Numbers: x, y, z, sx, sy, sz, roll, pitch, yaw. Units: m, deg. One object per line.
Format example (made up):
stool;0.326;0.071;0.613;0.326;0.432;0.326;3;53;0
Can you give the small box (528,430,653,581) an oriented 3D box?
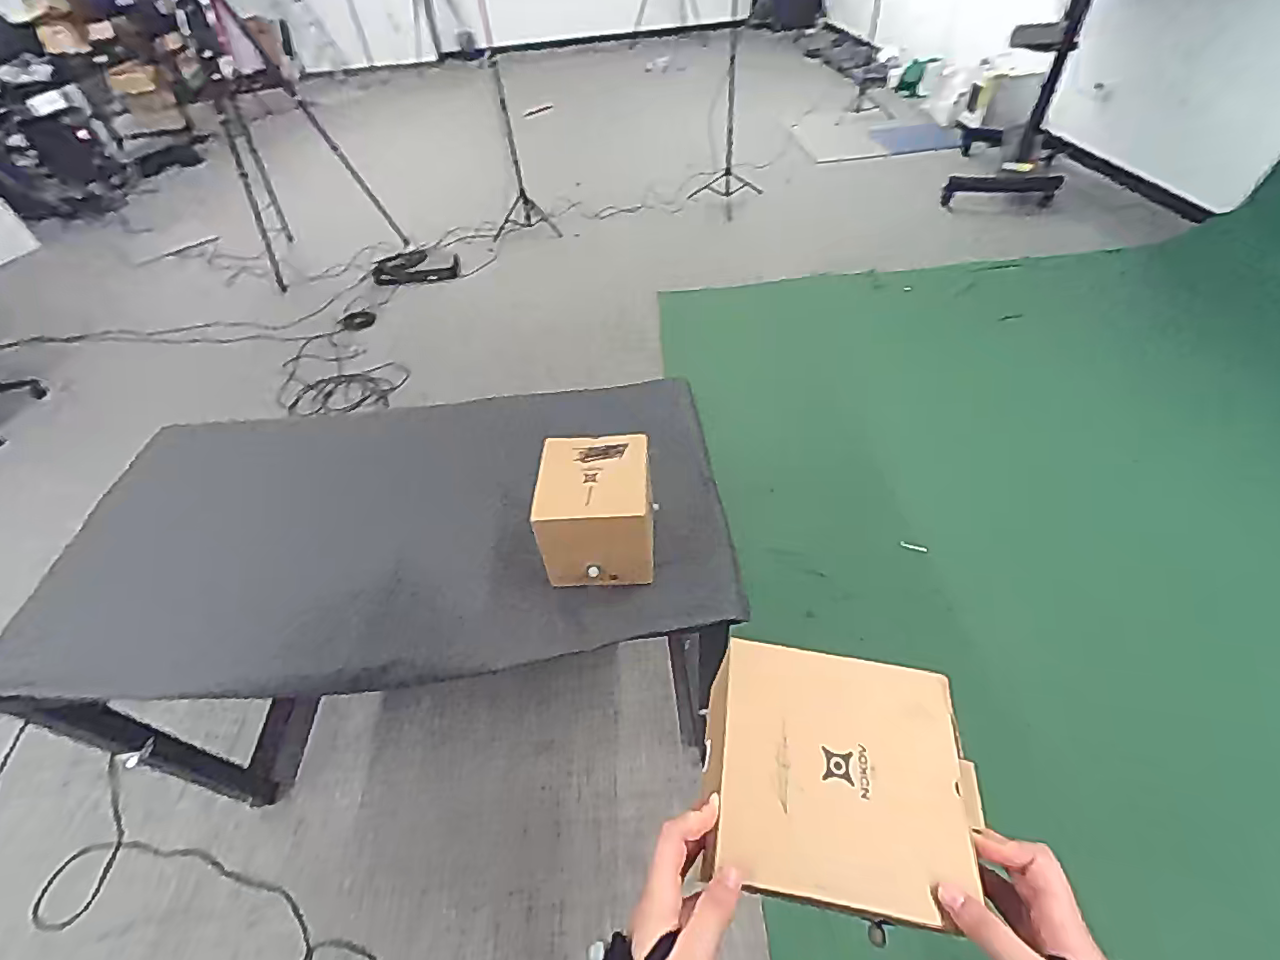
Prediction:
small box;-0.069;0.041;0.864;0.168;0.176;0.179;-3;46;4

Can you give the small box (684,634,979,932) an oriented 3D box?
small box;0.136;0.249;0.449;0.179;0.176;0.168;7;52;6
